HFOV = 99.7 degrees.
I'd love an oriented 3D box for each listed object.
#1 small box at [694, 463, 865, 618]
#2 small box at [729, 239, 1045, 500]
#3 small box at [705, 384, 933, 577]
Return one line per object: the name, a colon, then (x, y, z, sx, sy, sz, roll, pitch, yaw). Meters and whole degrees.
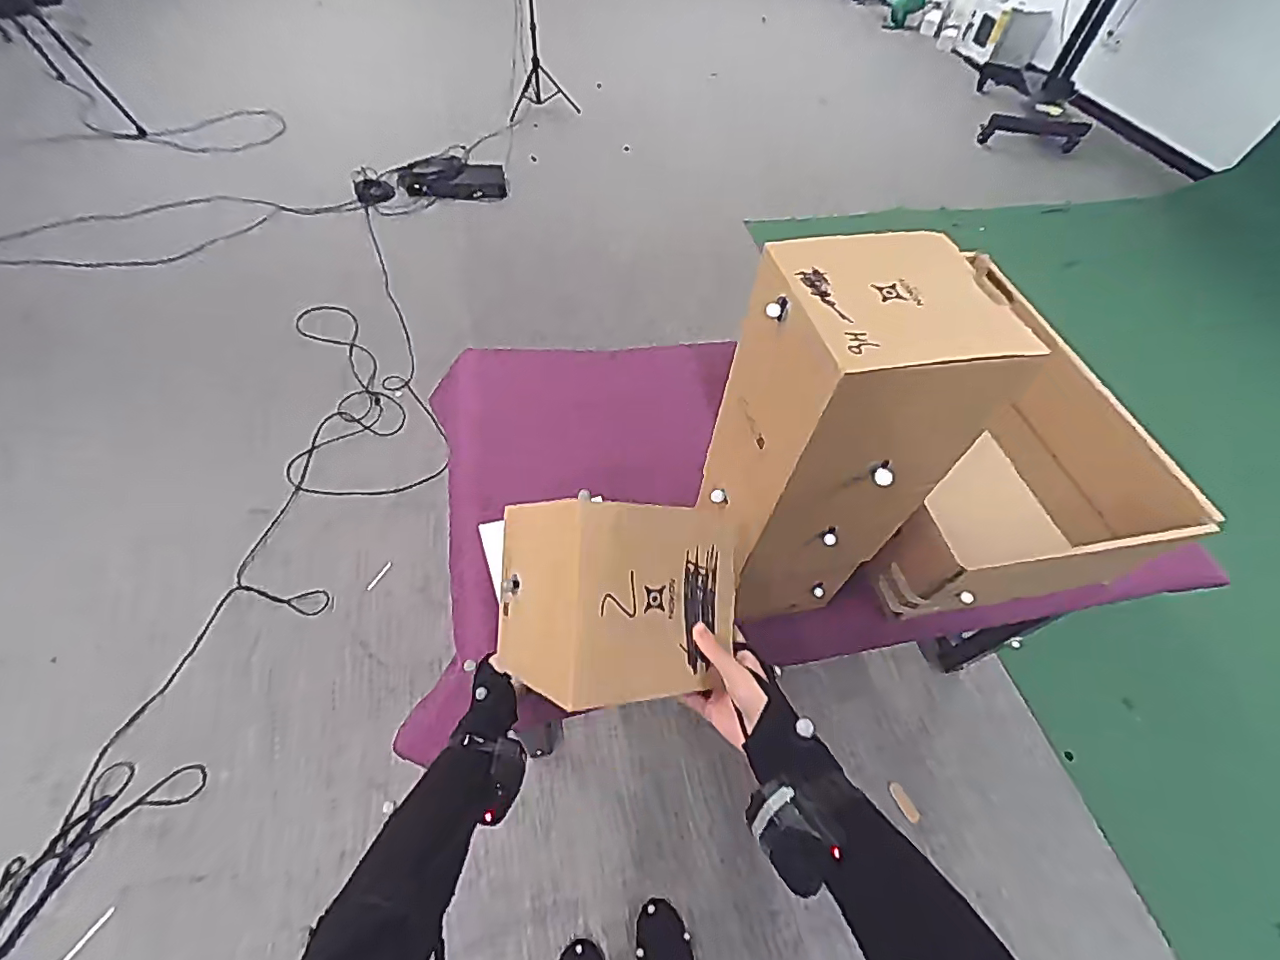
small box: (0.183, 0.084, 0.772, 0.168, 0.176, 0.179, -6, 54, -10)
small box: (0.200, -0.099, 0.499, 0.179, 0.176, 0.168, -7, 54, -10)
small box: (0.189, -0.003, 0.632, 0.179, 0.176, 0.168, -7, 54, -9)
